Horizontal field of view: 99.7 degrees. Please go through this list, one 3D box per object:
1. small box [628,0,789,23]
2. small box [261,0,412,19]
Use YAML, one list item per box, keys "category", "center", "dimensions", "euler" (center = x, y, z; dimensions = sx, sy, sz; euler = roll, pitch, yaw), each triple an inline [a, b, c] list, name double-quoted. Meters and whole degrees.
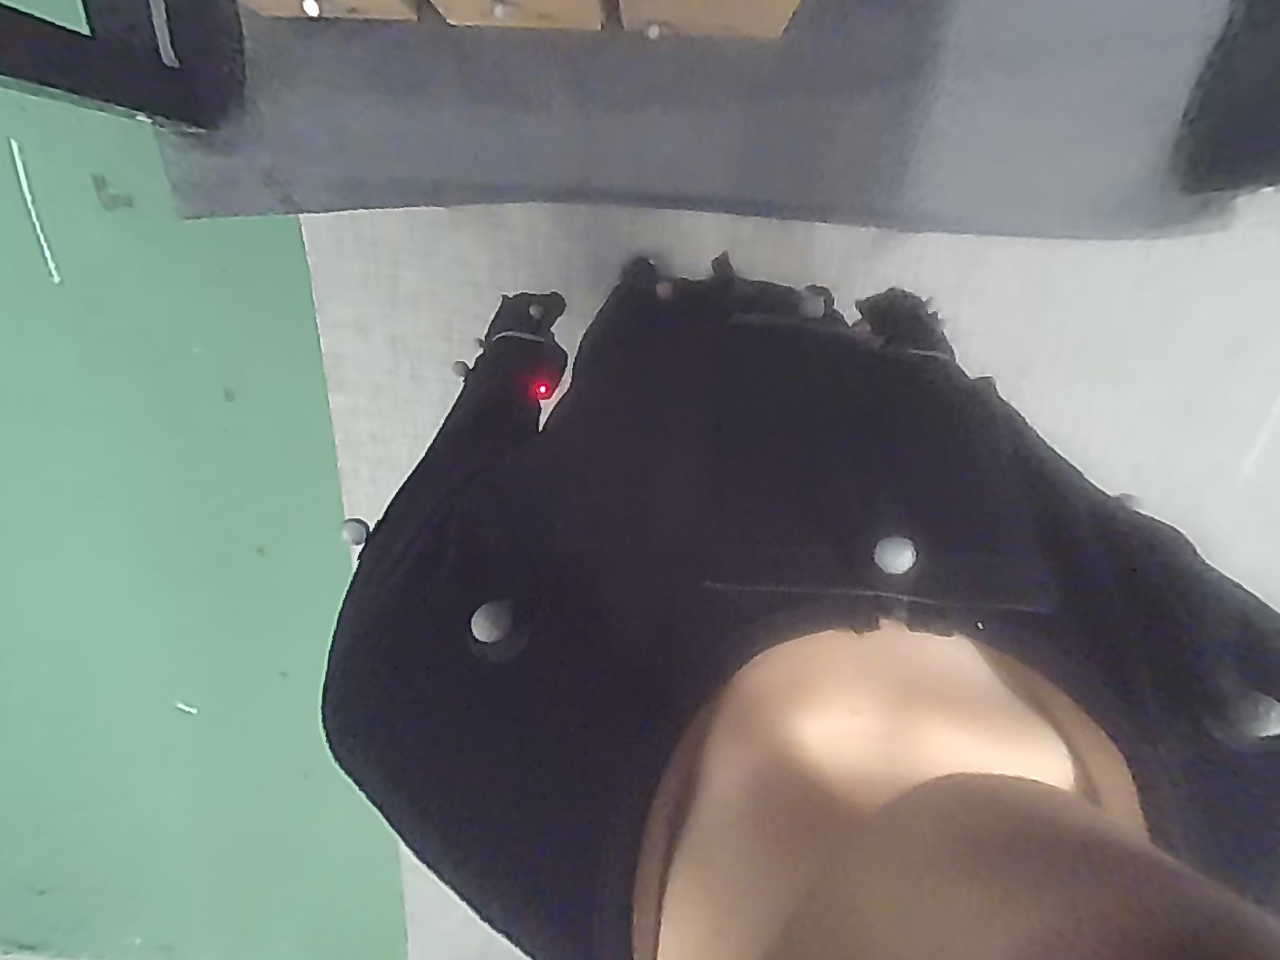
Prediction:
- category: "small box"
  center: [0.064, -0.514, 0.446]
  dimensions: [0.168, 0.176, 0.179]
  euler: [3, 112, 1]
- category: "small box"
  center: [-0.311, -0.531, 0.451]
  dimensions: [0.168, 0.176, 0.179]
  euler: [3, 112, 2]
